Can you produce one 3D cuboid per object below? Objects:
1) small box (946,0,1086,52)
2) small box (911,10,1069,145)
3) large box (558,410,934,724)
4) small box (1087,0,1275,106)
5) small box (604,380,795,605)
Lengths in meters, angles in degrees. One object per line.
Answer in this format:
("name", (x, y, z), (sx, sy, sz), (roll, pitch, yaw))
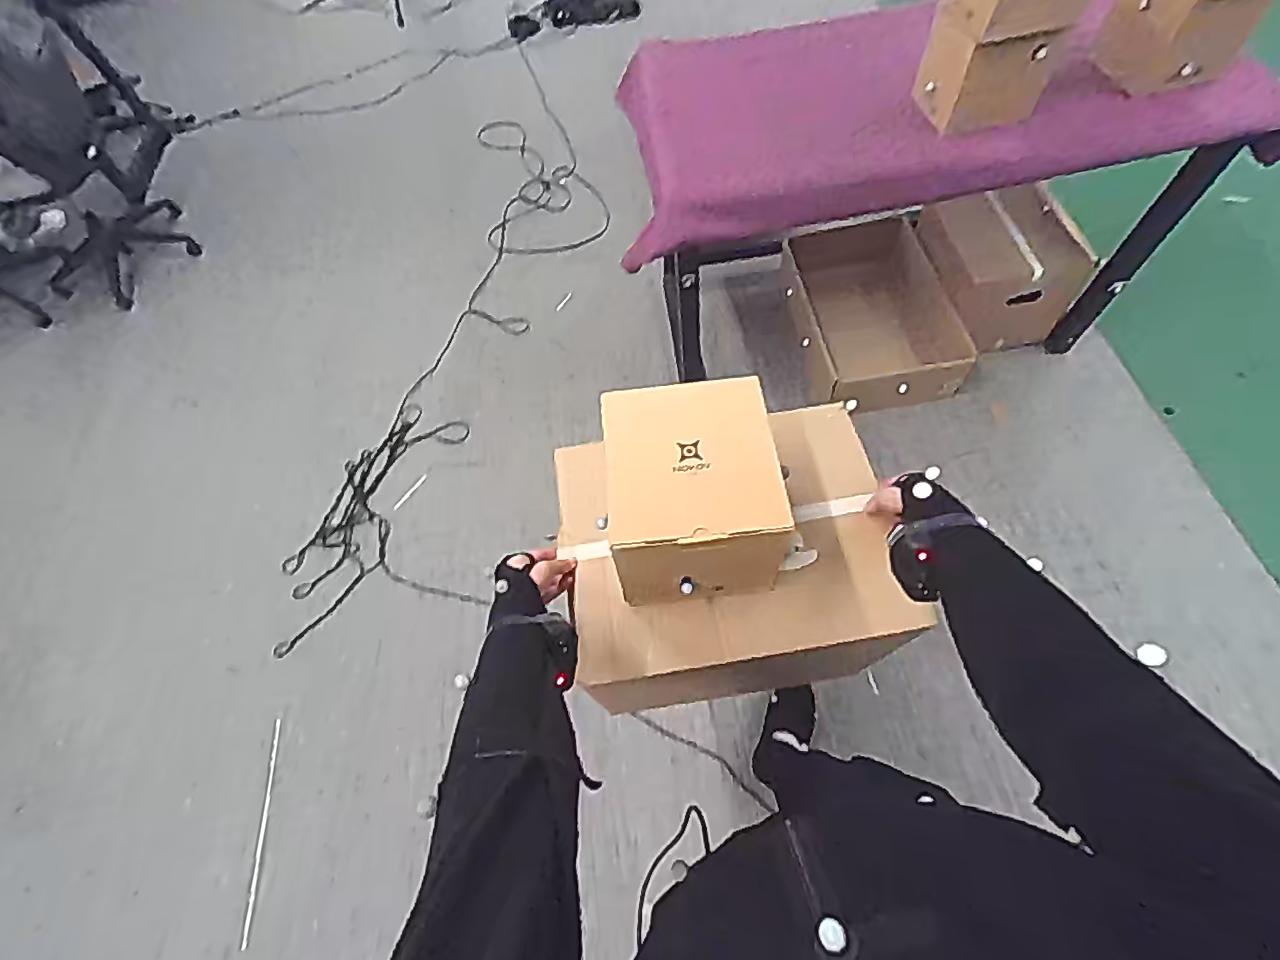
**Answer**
("small box", (0.643, -0.858, 0.905), (0.179, 0.176, 0.168), (-11, 60, 2))
("small box", (0.666, -0.794, 1.056), (0.179, 0.176, 0.168), (-10, 59, 3))
("large box", (0.114, 0.141, 0.789), (0.408, 0.320, 0.320), (-9, 60, -2))
("small box", (1.026, -0.864, 1.042), (0.168, 0.176, 0.179), (-12, 60, 3))
("small box", (0.053, 0.019, 0.582), (0.168, 0.176, 0.179), (-6, 59, 1))
